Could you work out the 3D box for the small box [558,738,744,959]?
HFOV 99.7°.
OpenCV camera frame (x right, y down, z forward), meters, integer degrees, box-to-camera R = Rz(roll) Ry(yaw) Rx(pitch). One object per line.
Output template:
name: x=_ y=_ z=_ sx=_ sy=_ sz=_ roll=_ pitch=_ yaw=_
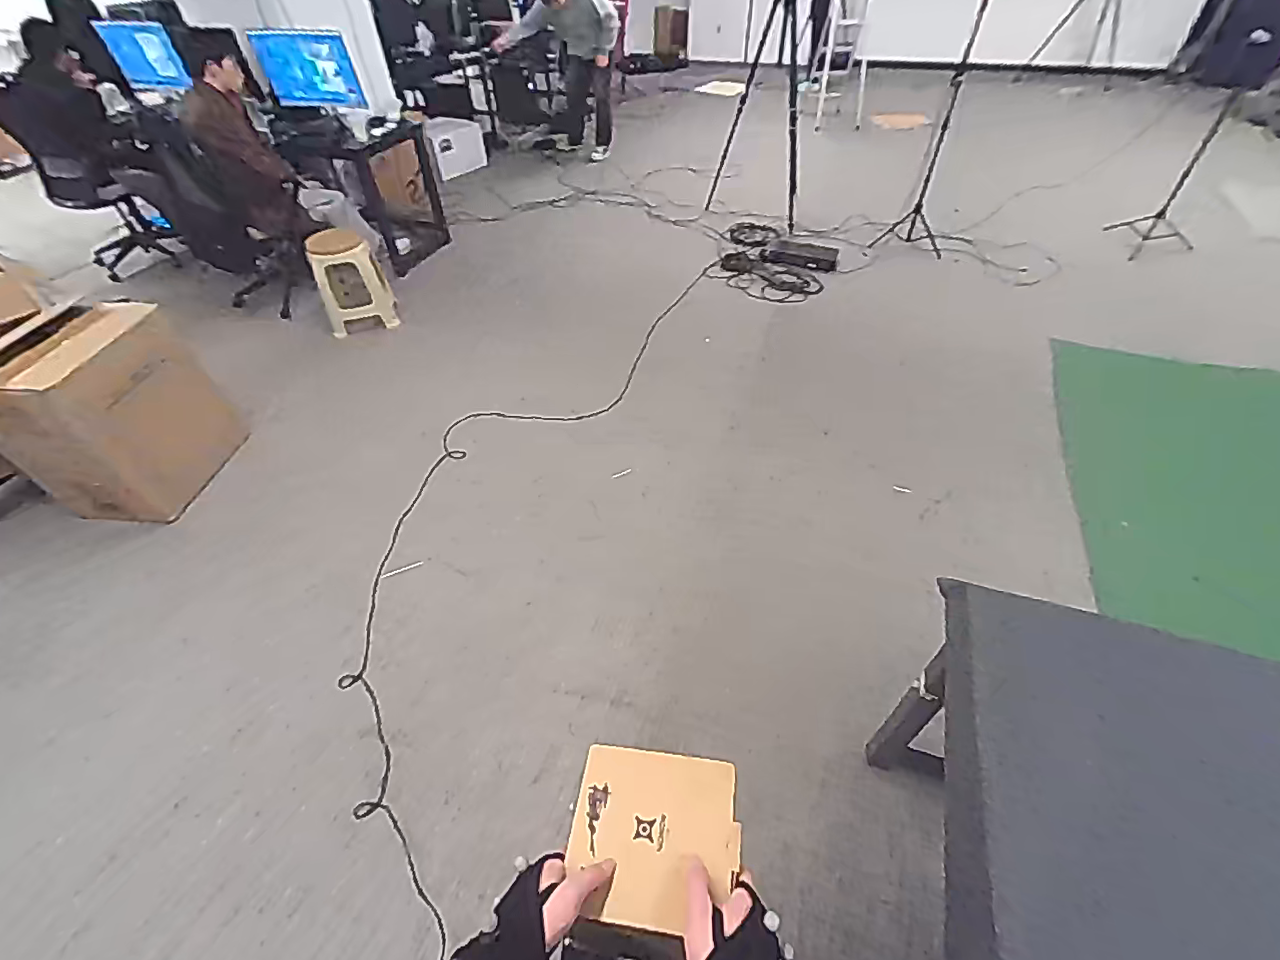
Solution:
small box: x=0.021 y=0.428 z=0.623 sx=0.179 sy=0.176 sz=0.168 roll=5 pitch=41 yaw=8
